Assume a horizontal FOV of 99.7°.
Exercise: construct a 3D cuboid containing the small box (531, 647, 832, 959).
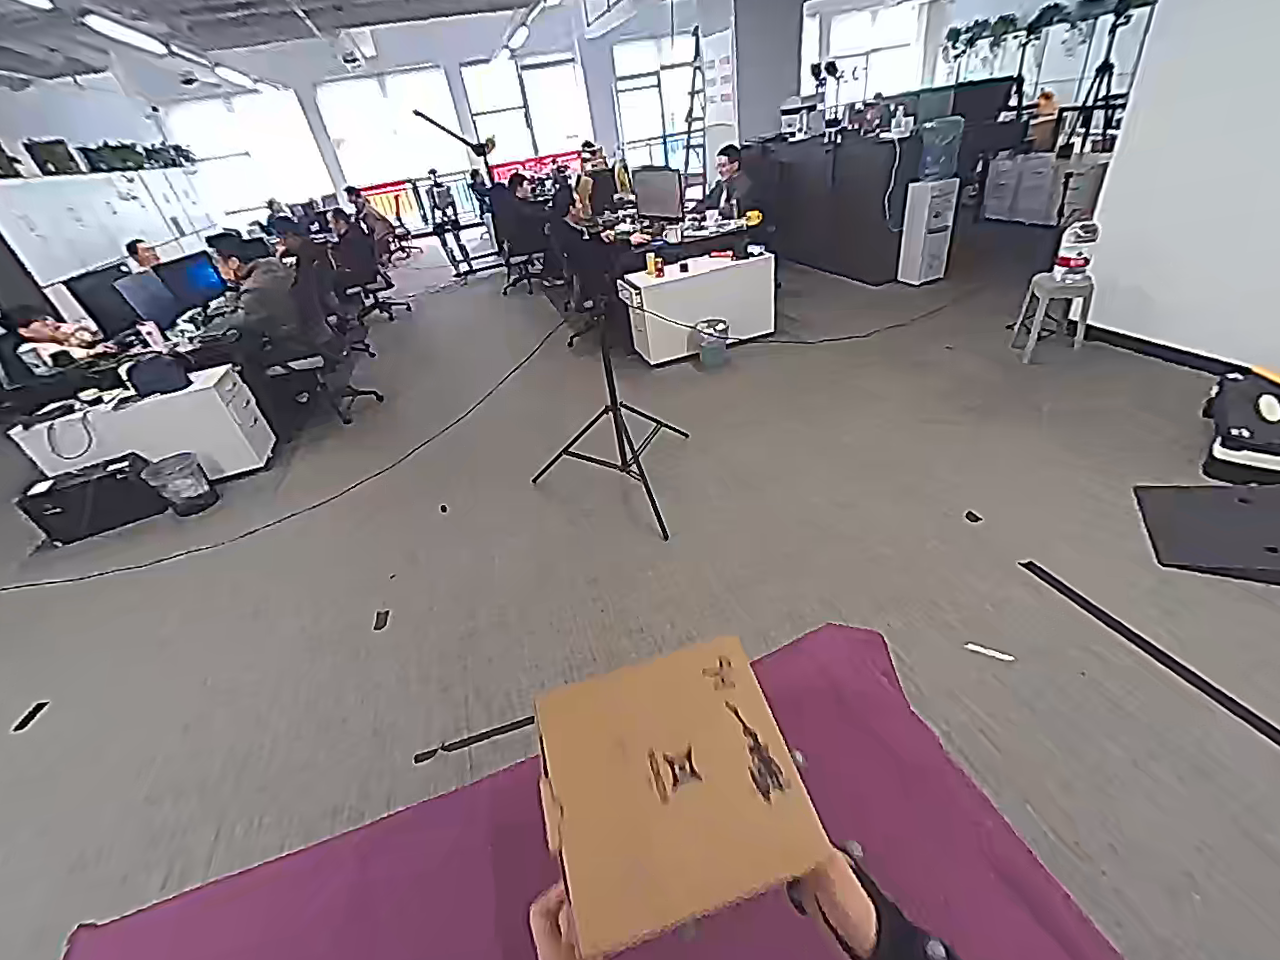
[{"bbox_3d":[0.024,0.268,0.443,0.179,0.176,0.168,-15,51,-9],"label":"small box"}]
